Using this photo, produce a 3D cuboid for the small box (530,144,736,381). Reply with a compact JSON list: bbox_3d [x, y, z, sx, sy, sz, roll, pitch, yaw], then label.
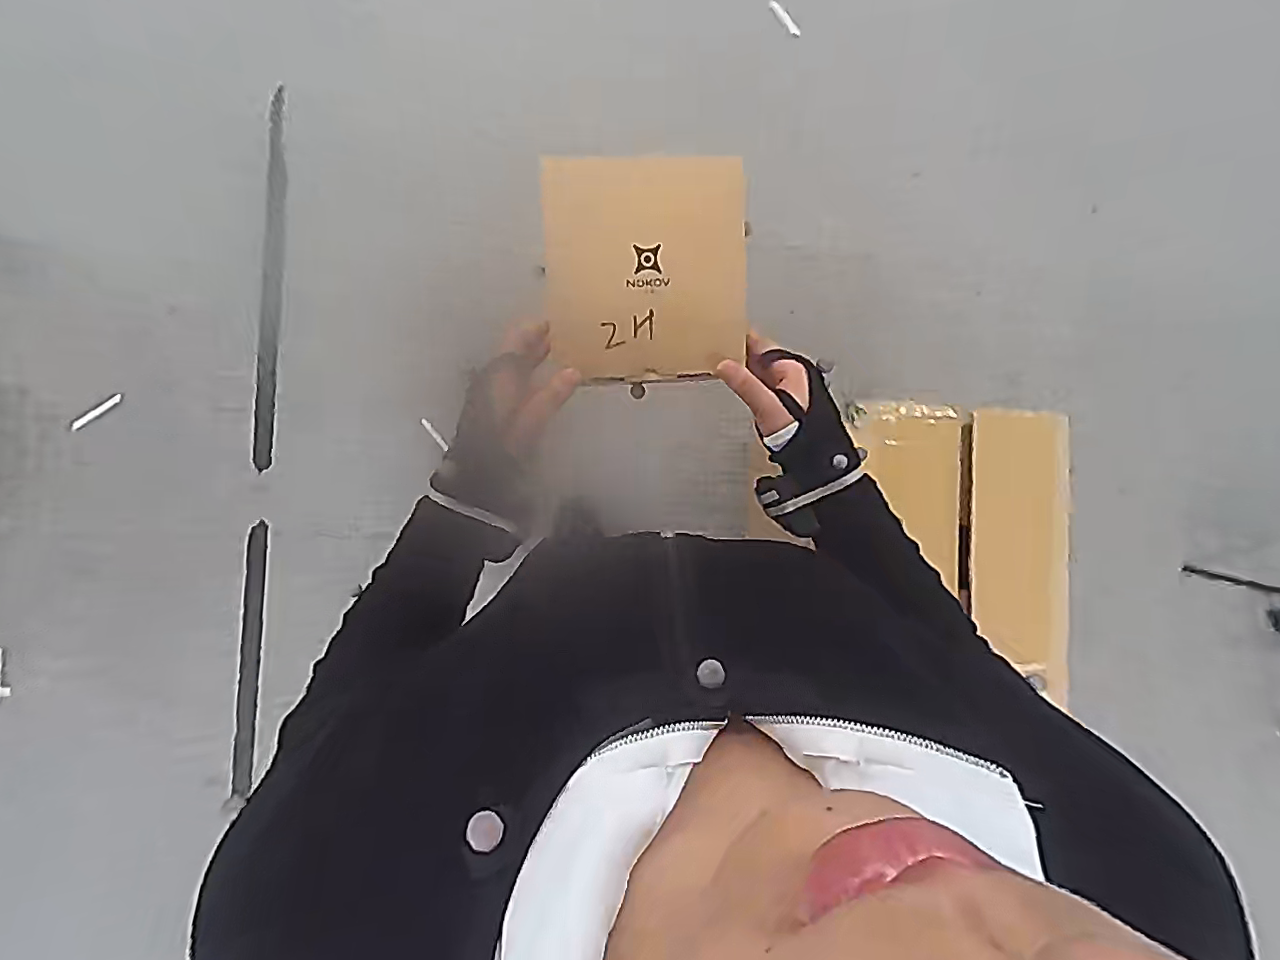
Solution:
[{"bbox_3d":[-0.011,-0.190,0.518,0.168,0.176,0.179,-4,99,-5],"label":"small box"}]
